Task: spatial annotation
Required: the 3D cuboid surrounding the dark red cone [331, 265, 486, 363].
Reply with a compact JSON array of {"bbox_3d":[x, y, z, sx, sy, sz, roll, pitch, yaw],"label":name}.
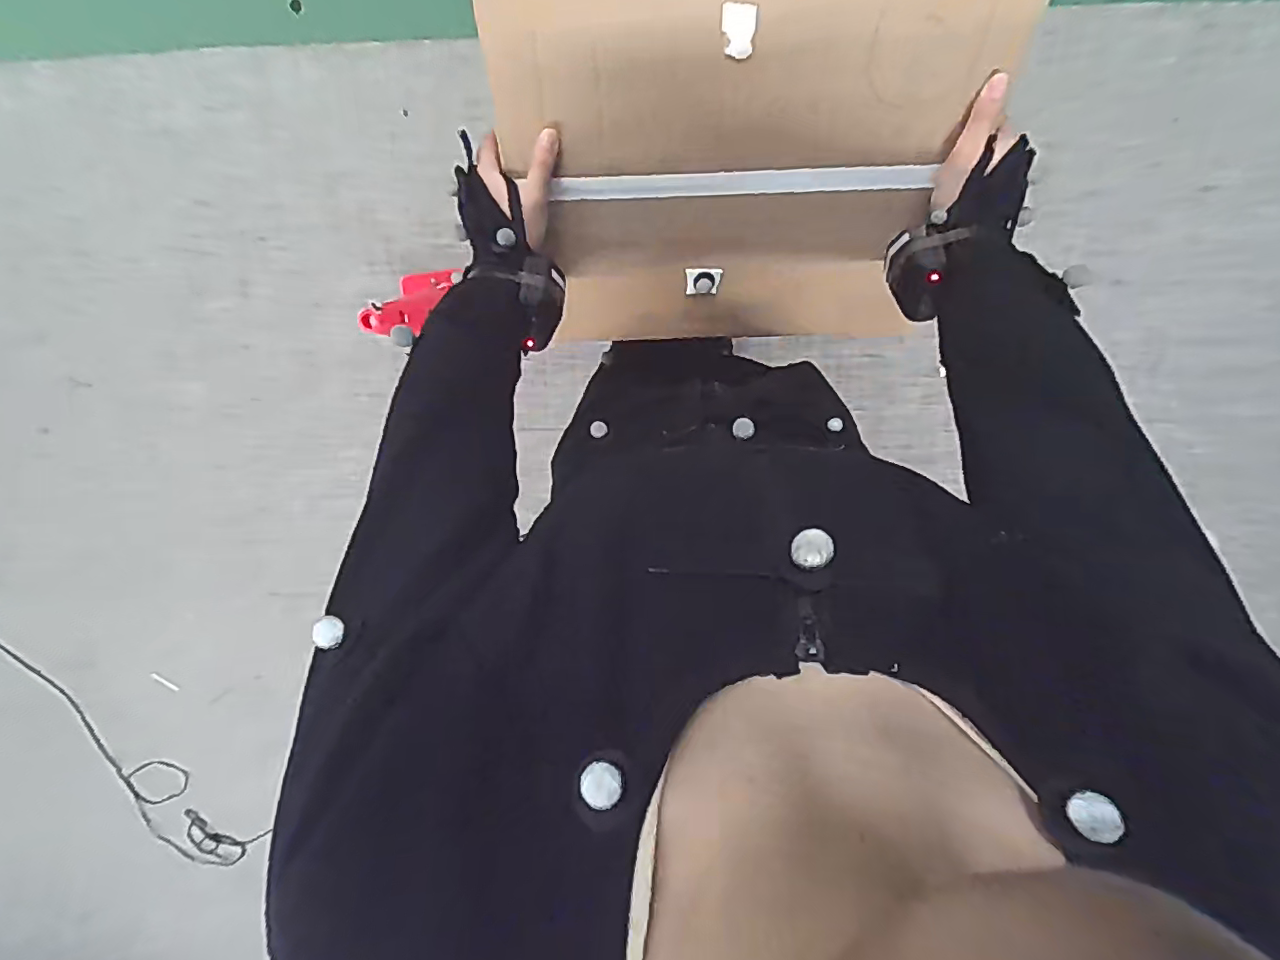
[{"bbox_3d":[-0.477,-0.337,1.090,0.202,0.394,0.201,-6,105,8],"label":"dark red cone"}]
